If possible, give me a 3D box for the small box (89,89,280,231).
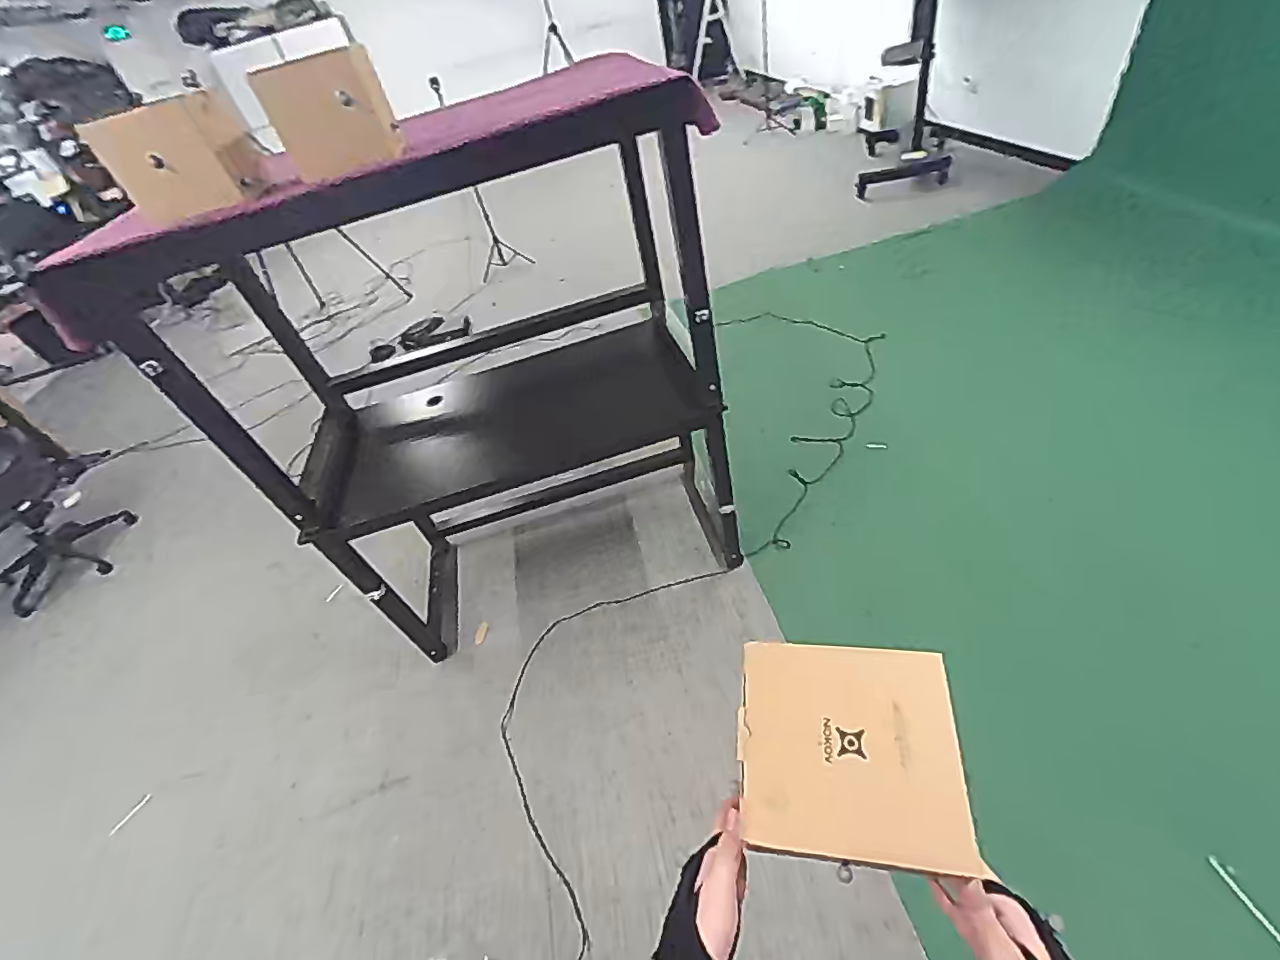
[{"bbox_3d":[-0.806,-0.581,0.984,0.179,0.176,0.168,-17,42,0],"label":"small box"}]

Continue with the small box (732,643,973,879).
[{"bbox_3d":[0.186,0.268,0.518,0.179,0.176,0.168,0,55,14],"label":"small box"}]
